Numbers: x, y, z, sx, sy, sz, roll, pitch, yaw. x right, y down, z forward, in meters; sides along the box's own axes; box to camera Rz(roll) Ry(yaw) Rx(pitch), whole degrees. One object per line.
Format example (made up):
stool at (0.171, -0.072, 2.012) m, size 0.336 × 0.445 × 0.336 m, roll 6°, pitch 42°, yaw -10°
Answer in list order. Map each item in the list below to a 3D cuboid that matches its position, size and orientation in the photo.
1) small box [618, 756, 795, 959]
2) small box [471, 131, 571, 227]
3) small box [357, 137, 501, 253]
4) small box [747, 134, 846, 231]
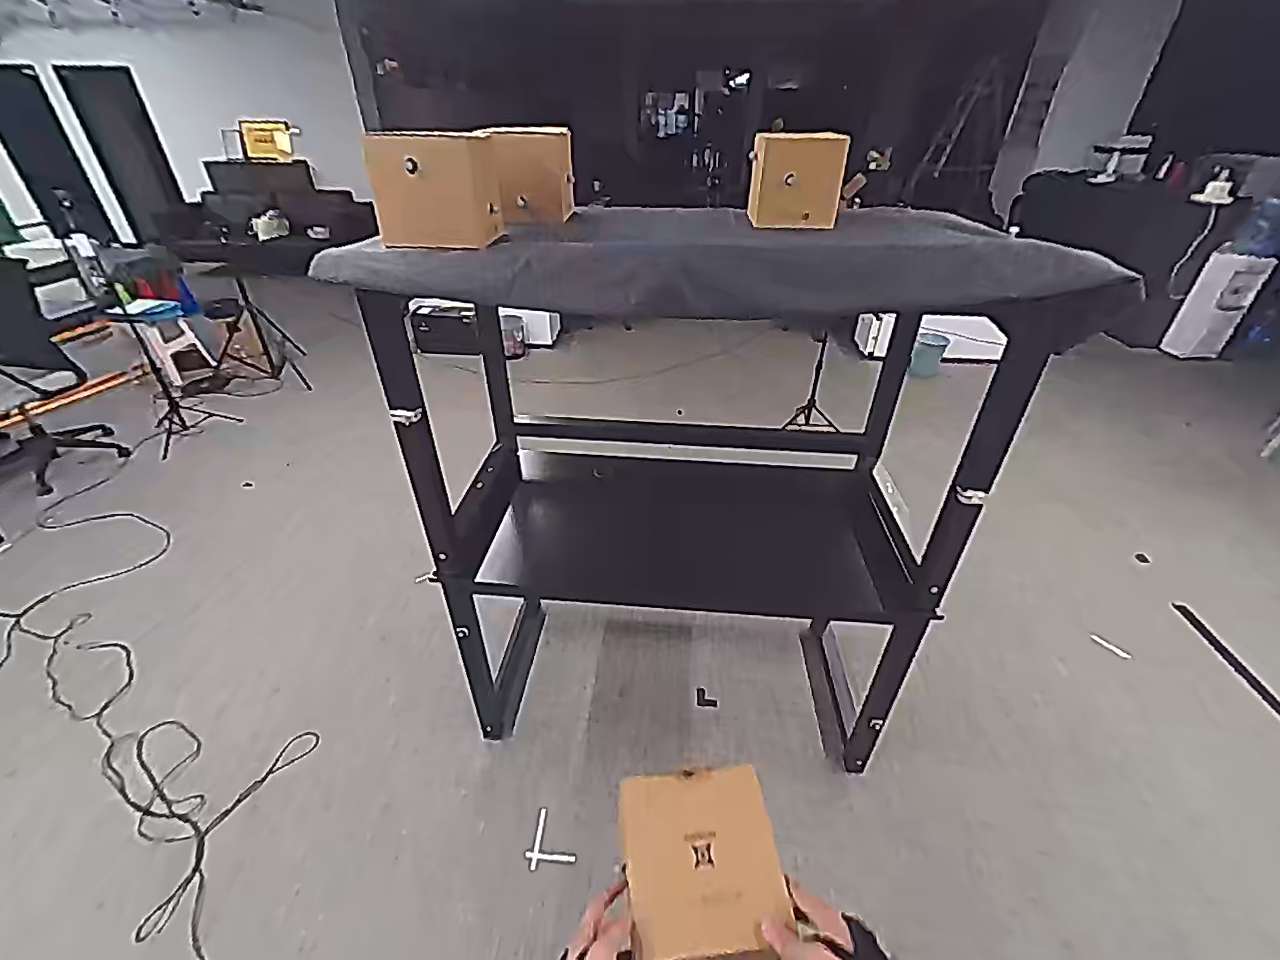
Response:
small box at (0.061, 0.458, 0.635) m, size 0.168 × 0.176 × 0.179 m, roll -4°, pitch 38°, yaw -6°
small box at (-0.250, -0.660, 1.186) m, size 0.179 × 0.176 × 0.168 m, roll 2°, pitch 35°, yaw 1°
small box at (-0.358, -0.503, 0.953) m, size 0.179 × 0.176 × 0.168 m, roll 1°, pitch 34°, yaw 0°
small box at (0.326, -0.638, 1.161) m, size 0.168 × 0.176 × 0.179 m, roll 2°, pitch 35°, yaw 3°
